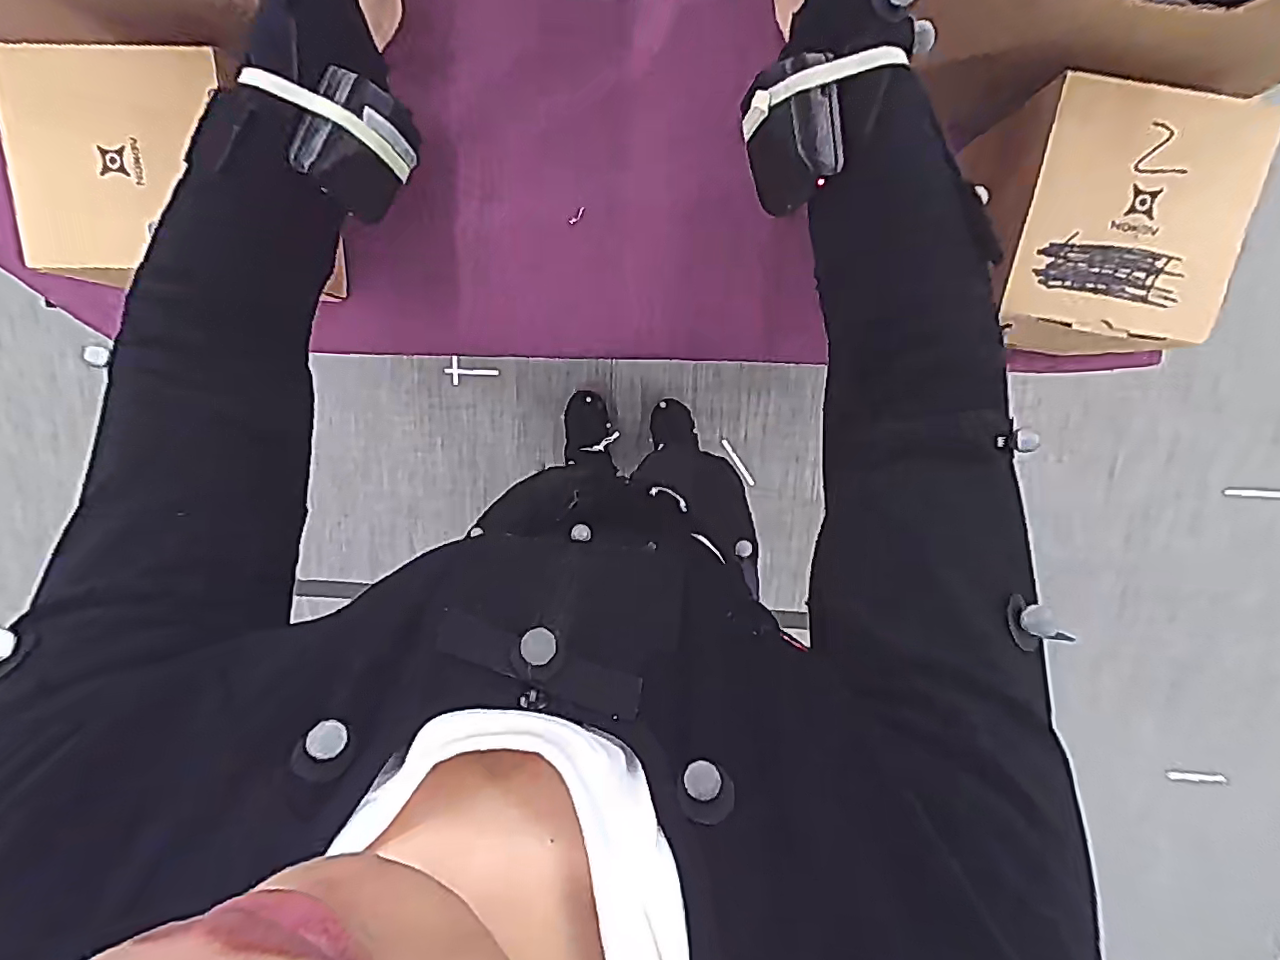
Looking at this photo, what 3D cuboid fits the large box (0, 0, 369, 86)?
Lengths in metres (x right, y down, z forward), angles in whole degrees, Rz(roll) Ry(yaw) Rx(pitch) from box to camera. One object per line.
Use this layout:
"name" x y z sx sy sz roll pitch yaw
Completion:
"large box" -0.430 -0.581 0.383 0.320 0.320 0.408 2 104 0
